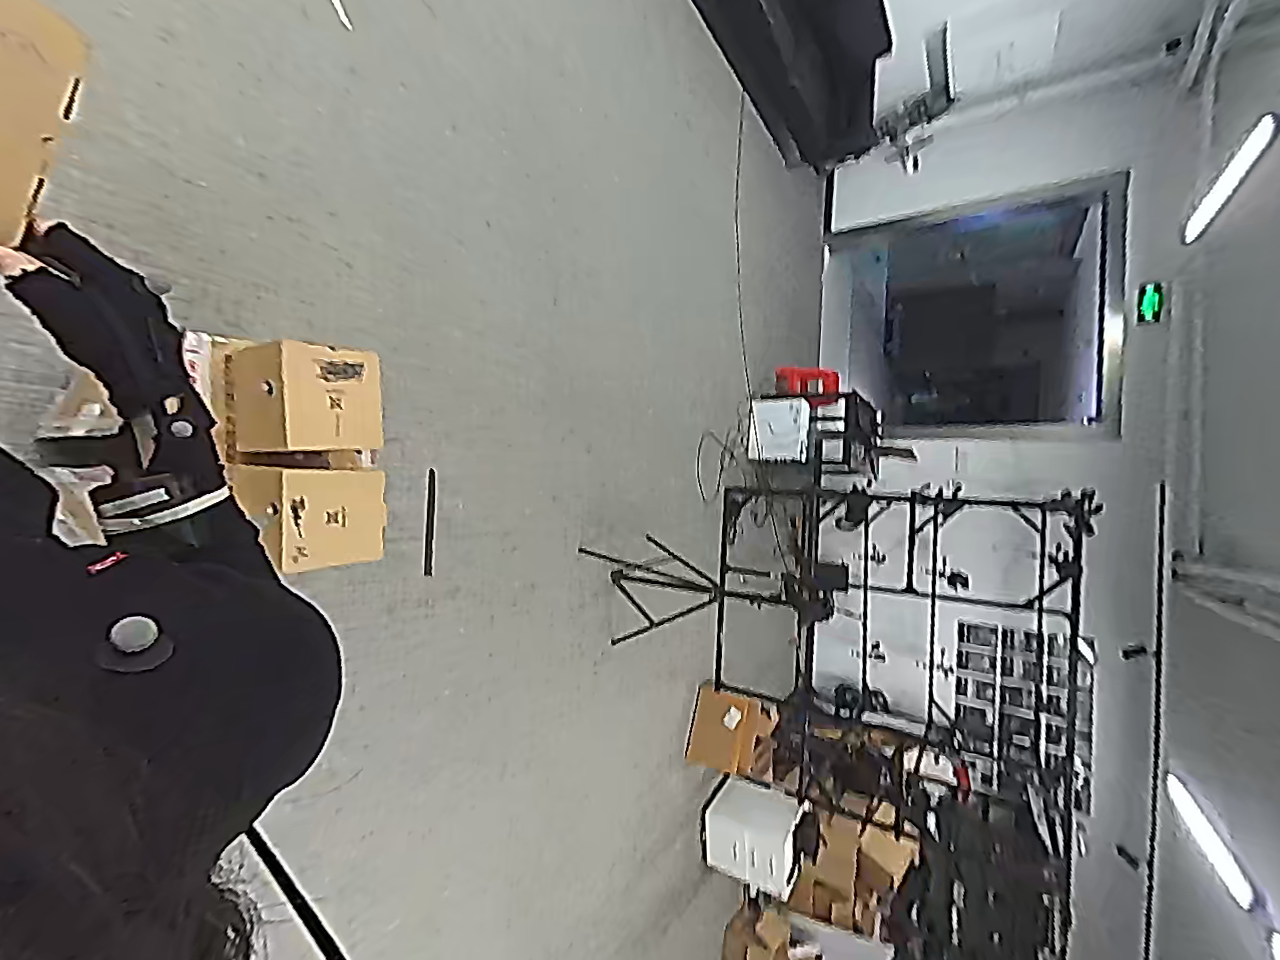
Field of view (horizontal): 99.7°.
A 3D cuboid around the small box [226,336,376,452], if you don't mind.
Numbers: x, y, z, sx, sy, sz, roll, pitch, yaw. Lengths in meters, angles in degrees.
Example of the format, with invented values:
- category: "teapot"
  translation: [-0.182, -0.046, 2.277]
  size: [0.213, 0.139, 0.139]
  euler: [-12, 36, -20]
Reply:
- category: "small box"
  translation: [-0.587, -0.139, 0.939]
  size: [0.168, 0.176, 0.179]
  euler: [-6, 96, -59]

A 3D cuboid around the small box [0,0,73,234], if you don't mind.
- category: "small box"
  translation: [-0.497, -0.258, 0.304]
  size: [0.179, 0.176, 0.168]
  euler: [21, 83, -67]

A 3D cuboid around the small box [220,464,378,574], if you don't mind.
- category: "small box"
  translation: [-0.592, 0.060, 0.947]
  size: [0.179, 0.176, 0.168]
  euler: [0, 94, -60]
